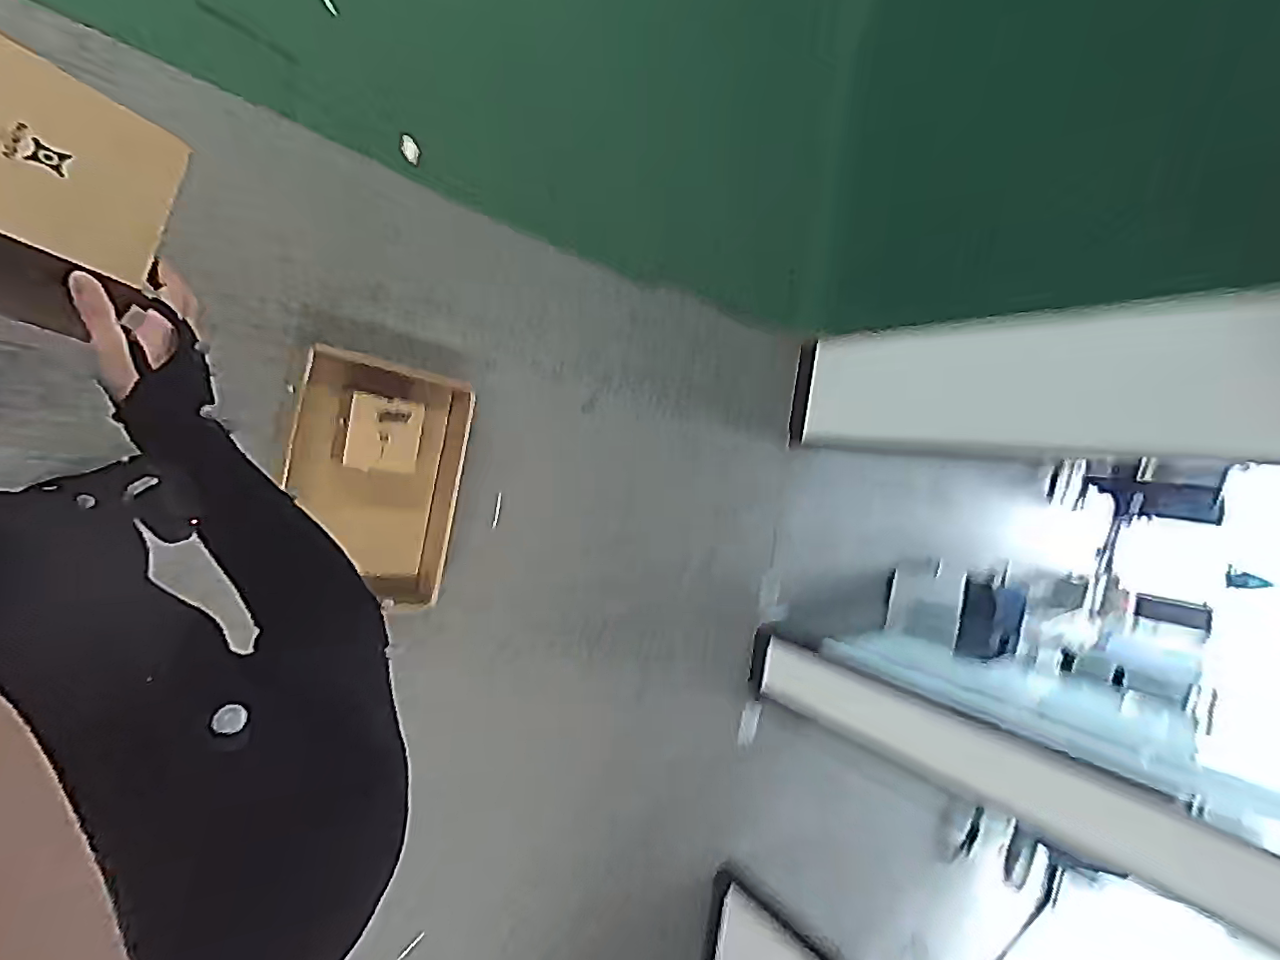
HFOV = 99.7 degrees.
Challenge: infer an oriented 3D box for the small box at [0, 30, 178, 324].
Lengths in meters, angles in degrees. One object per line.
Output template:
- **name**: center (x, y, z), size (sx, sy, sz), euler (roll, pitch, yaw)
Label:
- **small box**: center (-0.555, -0.258, 0.472), size (0.179, 0.176, 0.168), euler (21, 65, -49)
